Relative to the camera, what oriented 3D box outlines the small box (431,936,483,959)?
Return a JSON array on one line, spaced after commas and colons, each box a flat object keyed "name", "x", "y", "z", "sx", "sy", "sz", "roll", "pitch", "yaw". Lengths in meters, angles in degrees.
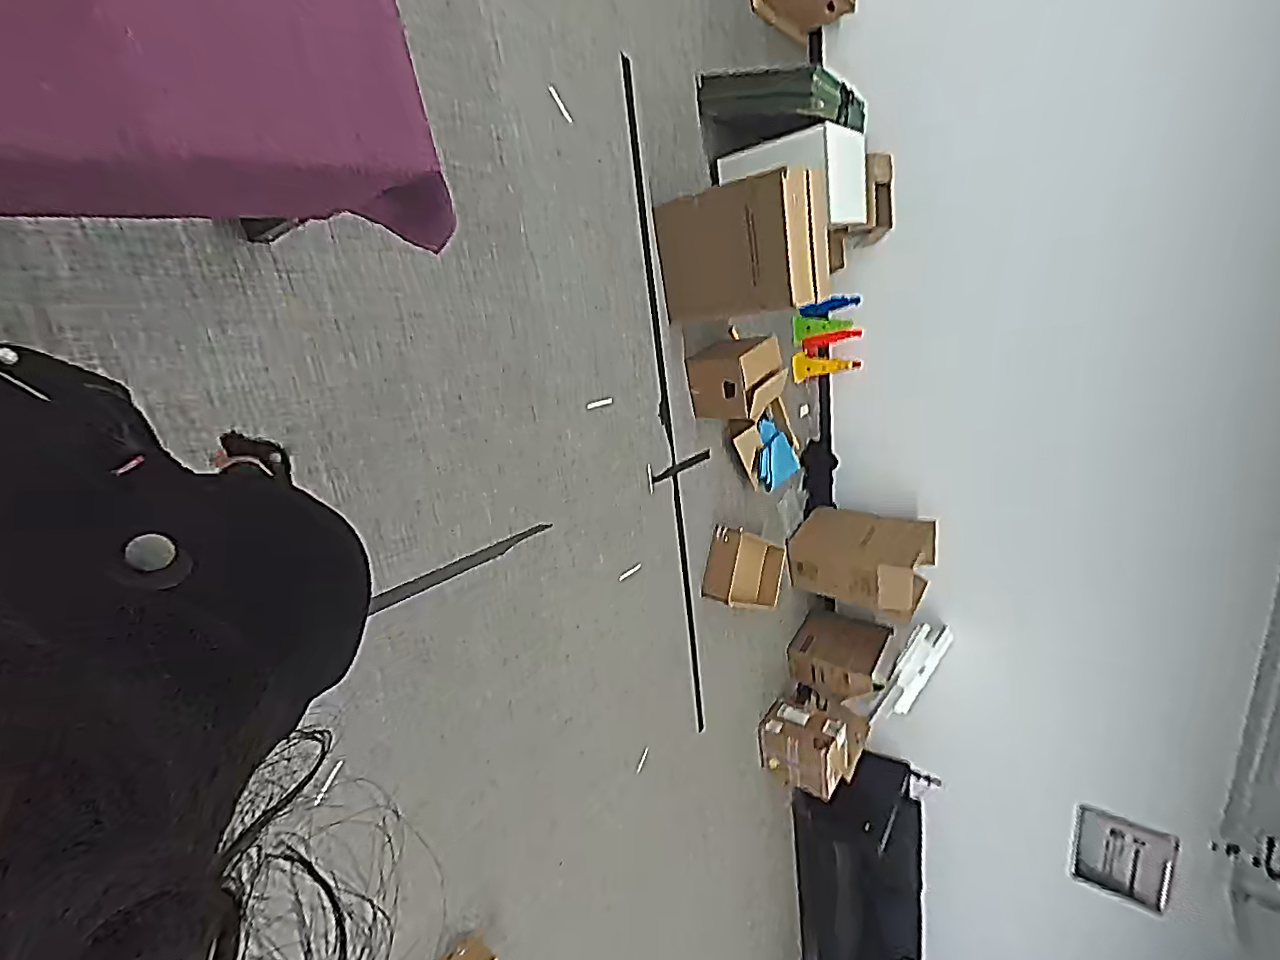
[{"name": "small box", "x": -0.639, "y": 1.748, "z": 1.869, "sx": 0.168, "sy": 0.176, "sz": 0.179, "roll": -22, "pitch": 111, "yaw": -50}]
